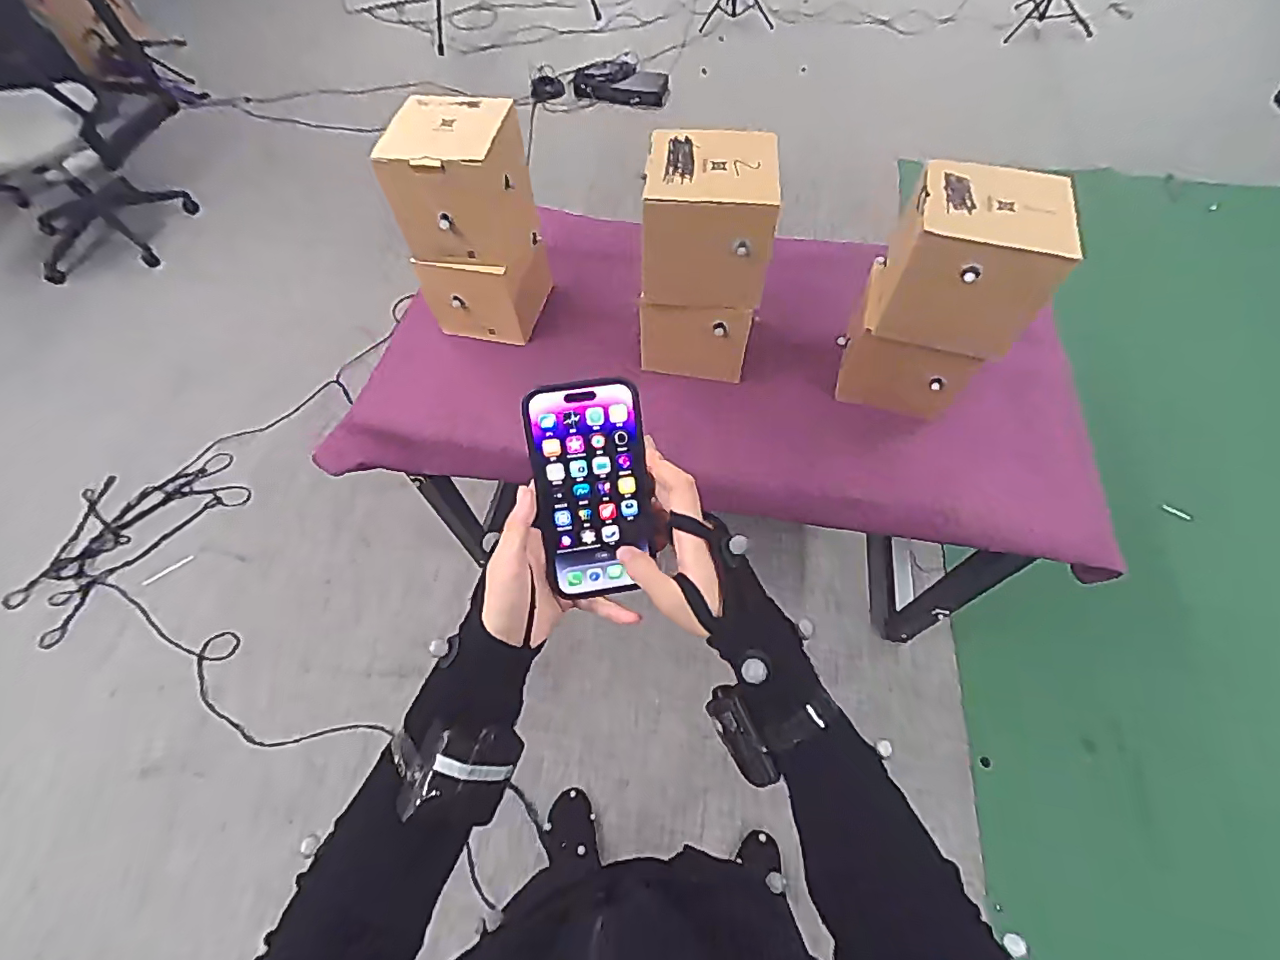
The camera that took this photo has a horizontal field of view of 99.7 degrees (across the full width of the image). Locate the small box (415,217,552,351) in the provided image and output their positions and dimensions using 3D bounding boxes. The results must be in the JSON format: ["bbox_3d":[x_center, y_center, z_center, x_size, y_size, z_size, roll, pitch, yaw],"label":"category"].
[{"bbox_3d":[-0.271,-0.360,0.989,0.168,0.176,0.179,10,59,8],"label":"small box"}]

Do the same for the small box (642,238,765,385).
[{"bbox_3d":[0.106,-0.282,0.924,0.179,0.176,0.168,9,59,8],"label":"small box"}]

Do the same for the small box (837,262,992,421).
[{"bbox_3d":[0.437,-0.217,0.872,0.179,0.176,0.168,14,60,12],"label":"small box"}]

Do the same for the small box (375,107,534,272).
[{"bbox_3d":[-0.276,-0.453,0.853,0.168,0.176,0.179,5,60,5],"label":"small box"}]

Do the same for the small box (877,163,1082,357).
[{"bbox_3d":[0.436,-0.288,0.723,0.179,0.176,0.168,14,60,10],"label":"small box"}]
